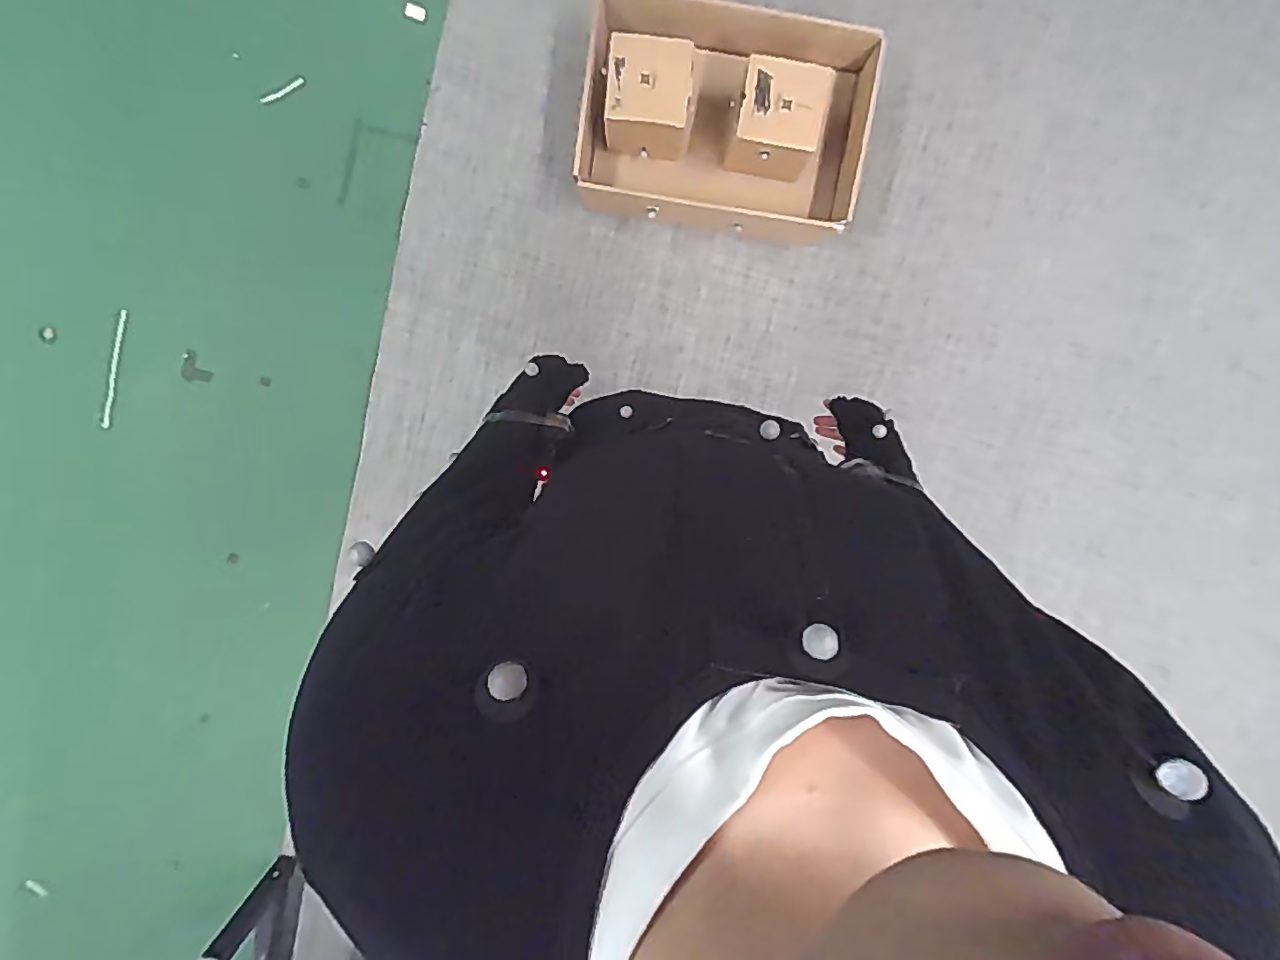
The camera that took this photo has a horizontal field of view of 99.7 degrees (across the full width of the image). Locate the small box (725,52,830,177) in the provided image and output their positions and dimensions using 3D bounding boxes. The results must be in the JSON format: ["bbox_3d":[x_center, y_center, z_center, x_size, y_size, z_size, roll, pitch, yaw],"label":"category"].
[{"bbox_3d":[0.295,-0.801,1.204,0.179,0.176,0.168,10,99,-1],"label":"small box"}]

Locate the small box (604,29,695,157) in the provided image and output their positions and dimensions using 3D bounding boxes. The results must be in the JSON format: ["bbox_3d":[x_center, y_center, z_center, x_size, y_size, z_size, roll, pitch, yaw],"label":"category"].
[{"bbox_3d":[0.016,-0.843,1.197,0.179,0.176,0.168,6,98,-3],"label":"small box"}]
